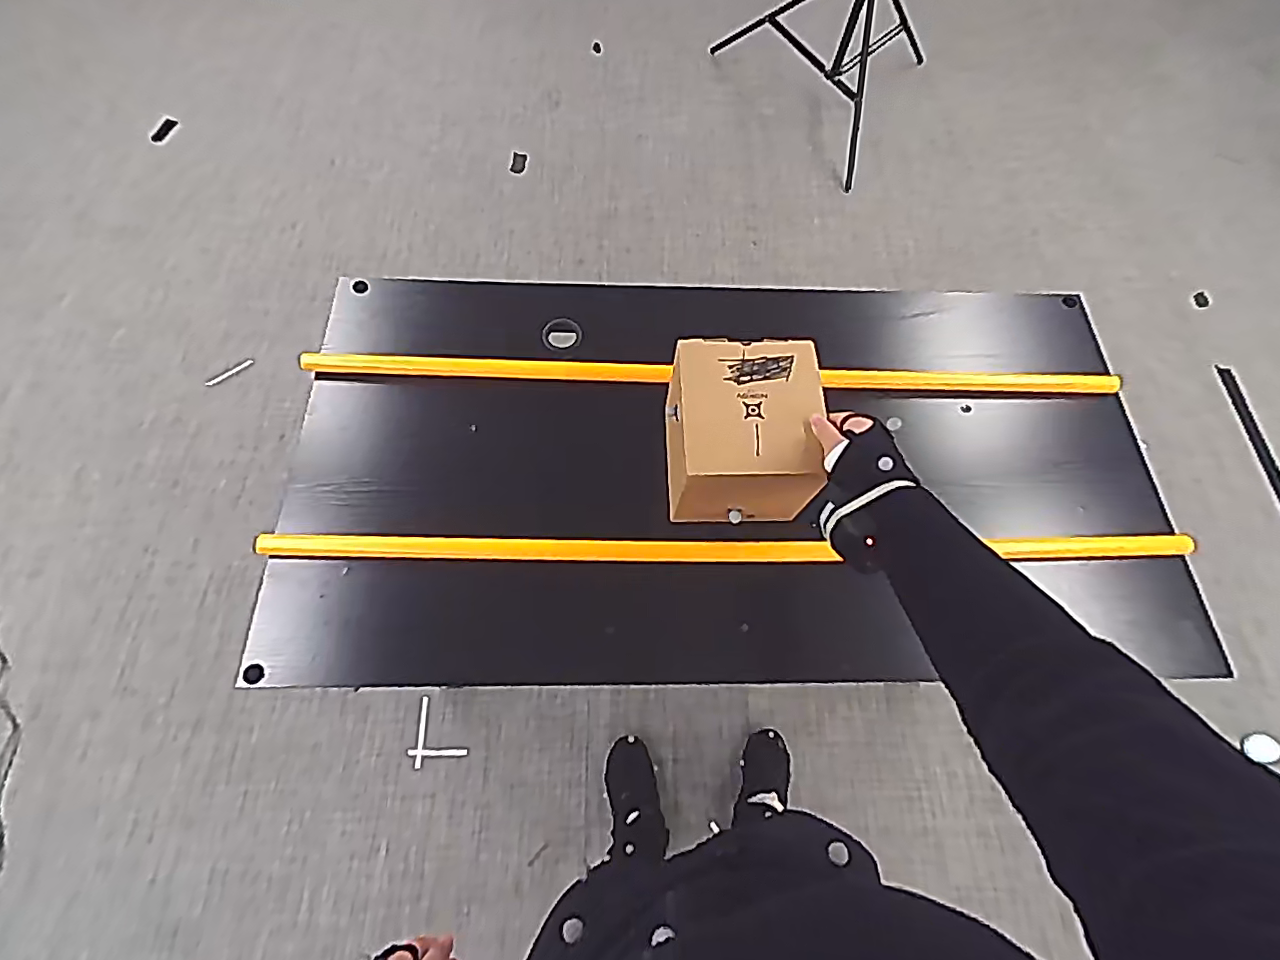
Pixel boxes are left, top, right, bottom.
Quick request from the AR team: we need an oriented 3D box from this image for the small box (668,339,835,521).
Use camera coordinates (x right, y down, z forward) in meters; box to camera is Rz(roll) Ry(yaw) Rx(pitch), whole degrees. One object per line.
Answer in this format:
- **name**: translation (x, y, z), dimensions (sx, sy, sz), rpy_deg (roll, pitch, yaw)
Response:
- **small box**: translation (0.126, -0.057, 0.688), dimensions (0.168, 0.176, 0.179), rpy_deg (0, 68, -2)
